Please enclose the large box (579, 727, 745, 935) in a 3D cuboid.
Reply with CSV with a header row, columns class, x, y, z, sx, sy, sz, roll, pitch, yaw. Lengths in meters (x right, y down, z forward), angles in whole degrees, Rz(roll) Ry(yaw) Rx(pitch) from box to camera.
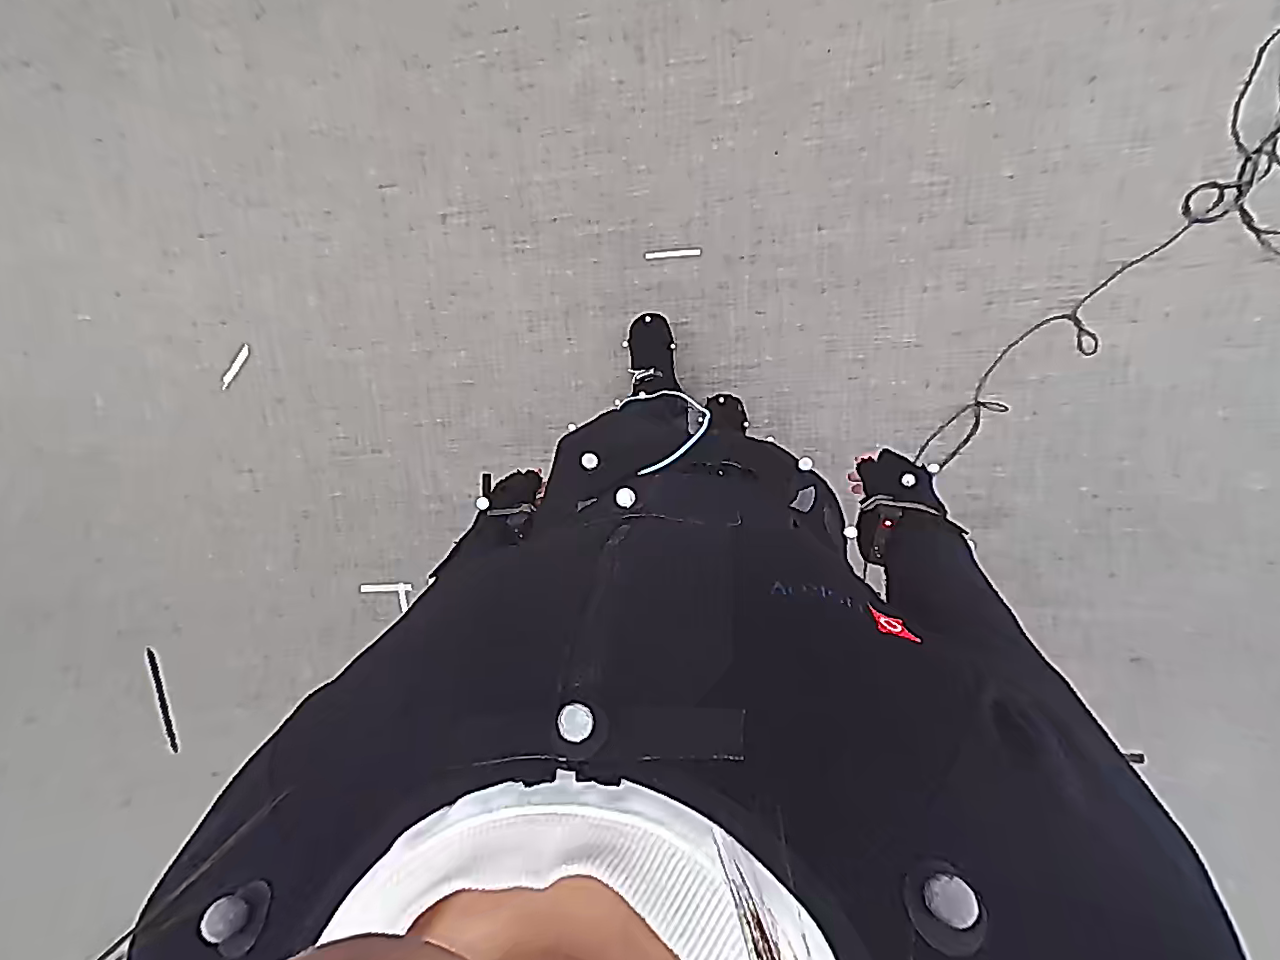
class,x,y,z,sx,sy,sz,roll,pitch,yaw
large box,0.075,0.925,1.473,0.408,0.320,0.320,6,100,10
